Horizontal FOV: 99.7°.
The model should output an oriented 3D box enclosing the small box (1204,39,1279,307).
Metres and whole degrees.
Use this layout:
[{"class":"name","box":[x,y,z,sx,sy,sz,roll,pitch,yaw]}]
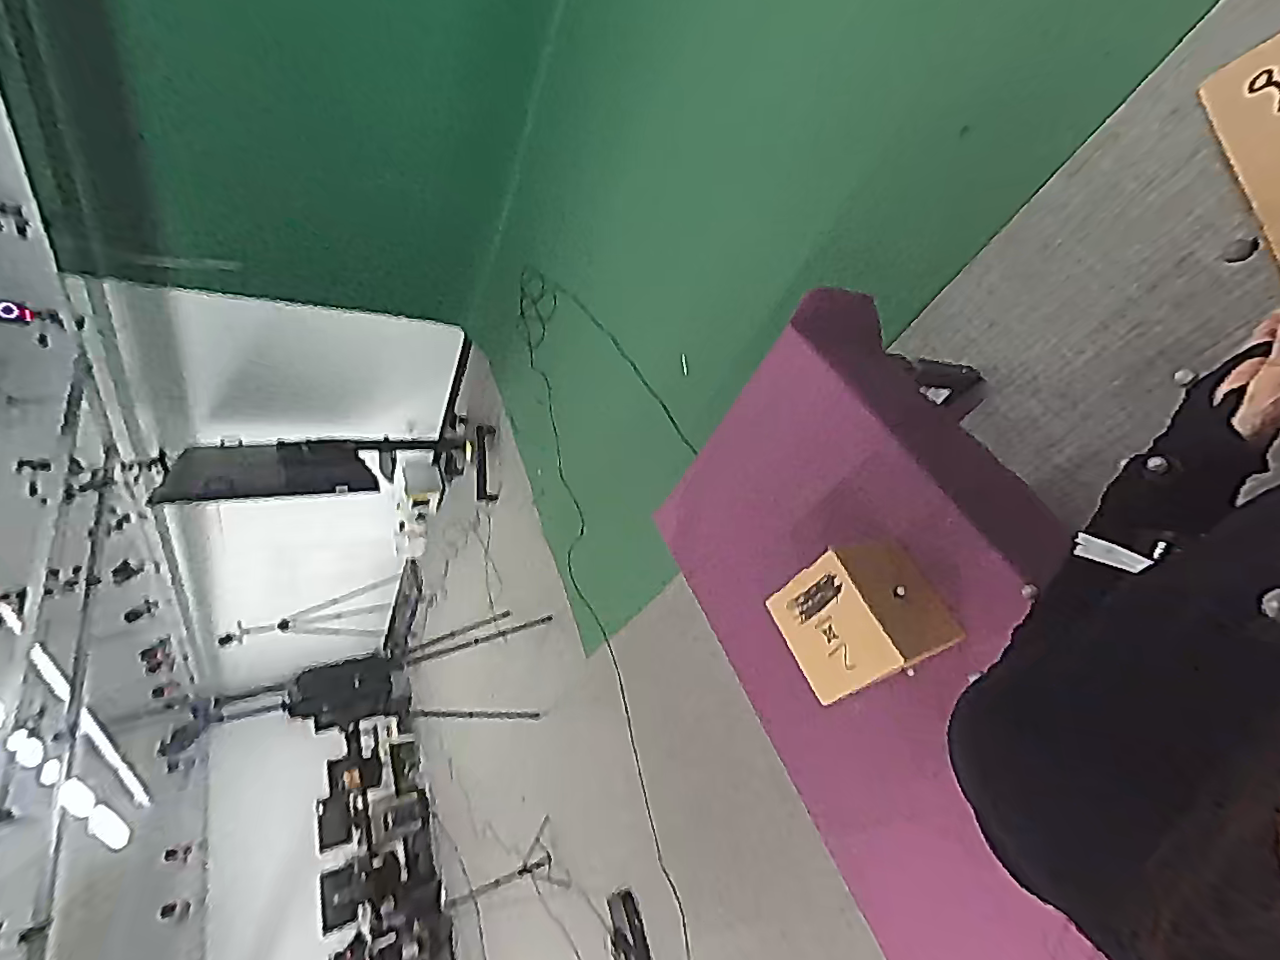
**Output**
[{"class":"small box","box":[0.461,-0.185,0.299,0.168,0.176,0.179,-22,84,49]}]
